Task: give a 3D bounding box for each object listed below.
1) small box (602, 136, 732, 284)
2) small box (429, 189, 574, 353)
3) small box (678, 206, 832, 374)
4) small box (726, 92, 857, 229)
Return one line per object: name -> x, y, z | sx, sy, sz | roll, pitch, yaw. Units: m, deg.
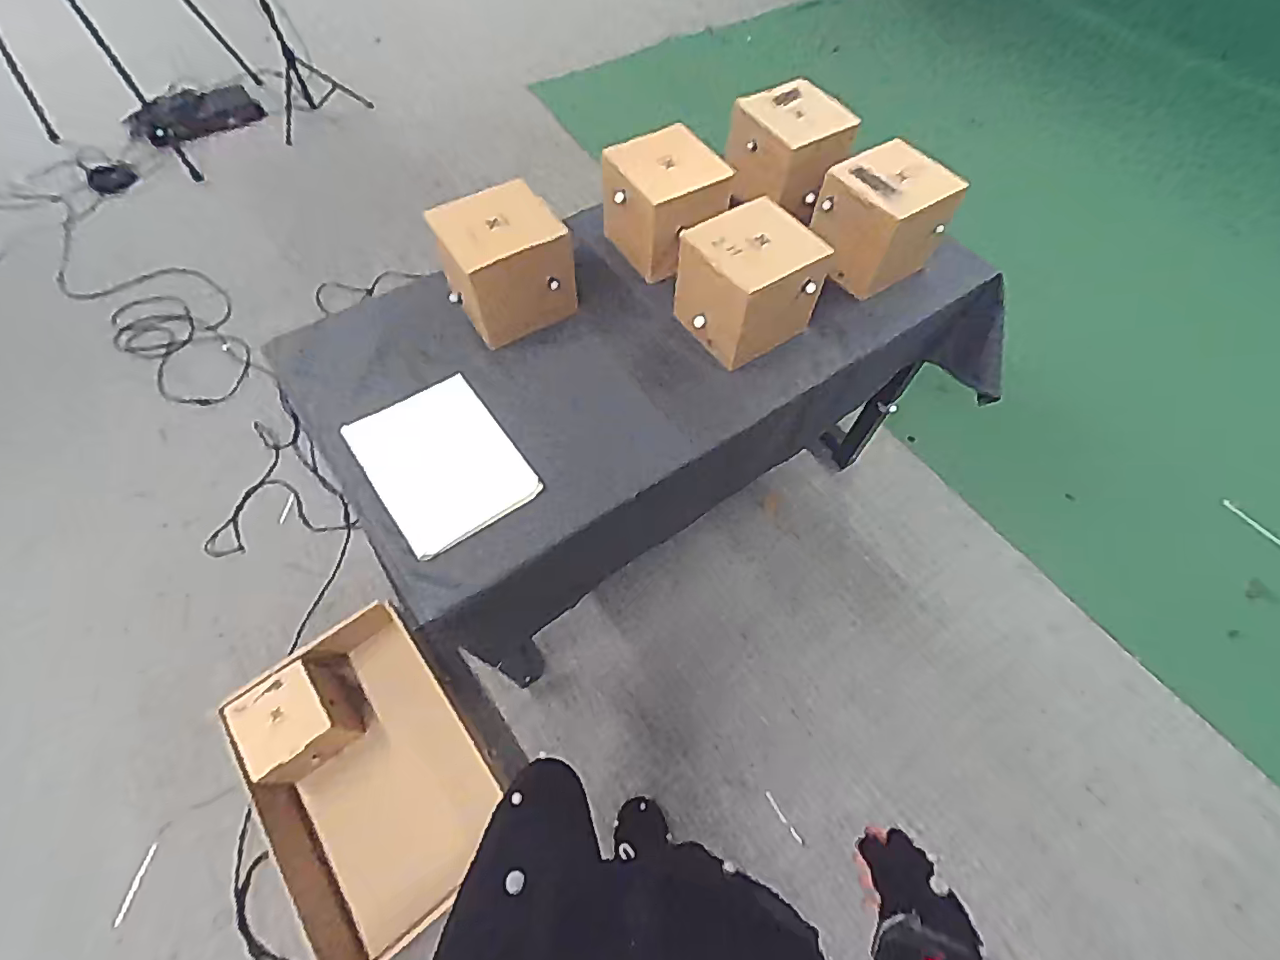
small box -> 0.046, -0.491, 1.004 | 0.168, 0.176, 0.179 | -28, 65, -16
small box -> -0.224, -0.350, 0.917 | 0.179, 0.176, 0.168 | -29, 65, -17
small box -> 0.179, -0.312, 0.902 | 0.179, 0.176, 0.168 | -31, 65, -16
small box -> 0.289, -0.629, 1.083 | 0.168, 0.176, 0.179 | -29, 66, -15
